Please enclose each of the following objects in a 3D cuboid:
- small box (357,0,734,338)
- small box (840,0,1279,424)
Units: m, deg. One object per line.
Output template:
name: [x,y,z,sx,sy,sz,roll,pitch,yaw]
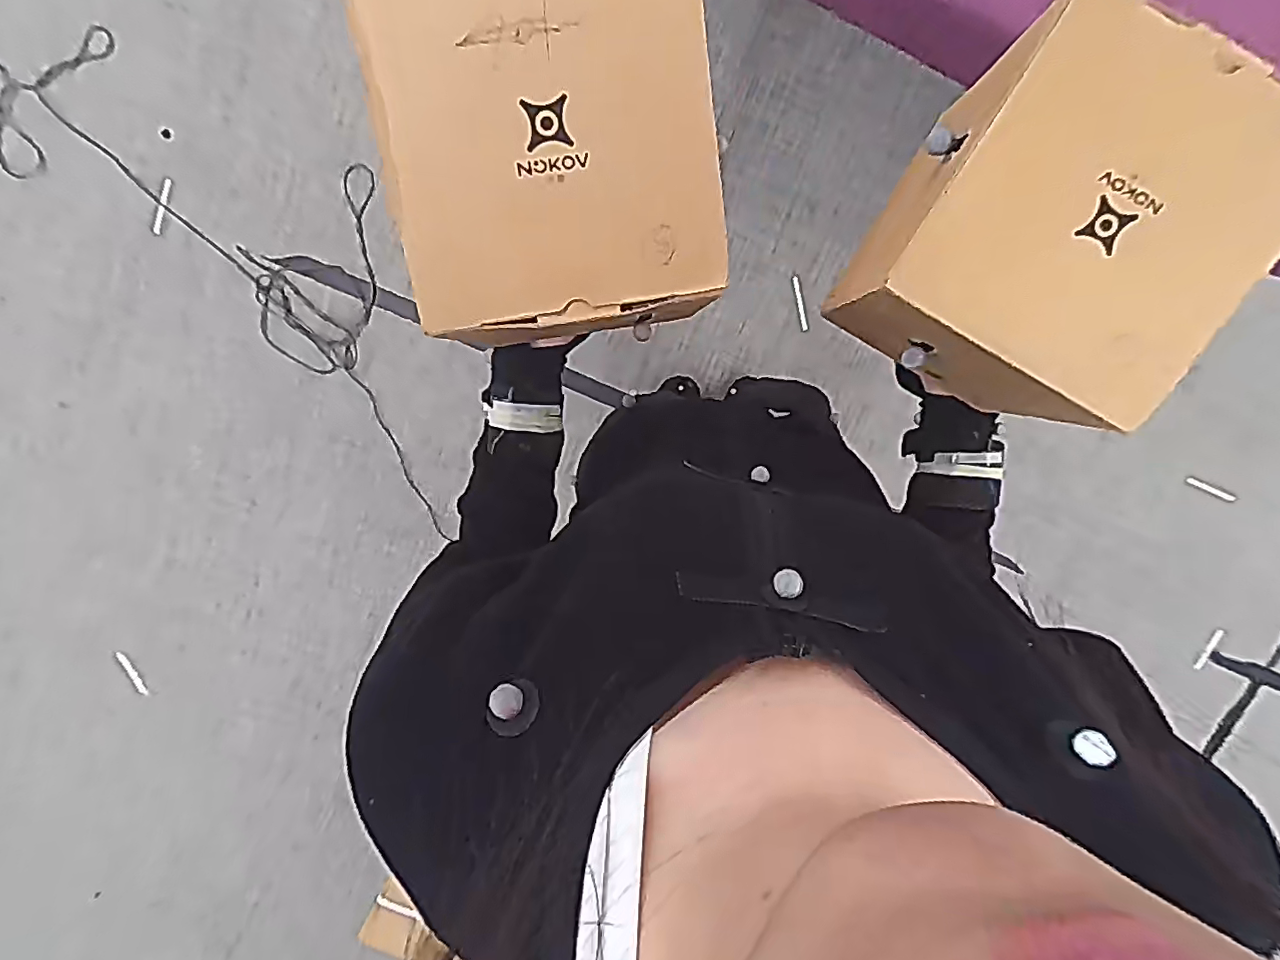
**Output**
small box: [-0.045,-0.189,0.344,0.168,0.176,0.179,-10,102,-1]
small box: [0.258,-0.158,0.363,0.168,0.176,0.179,30,102,-1]
